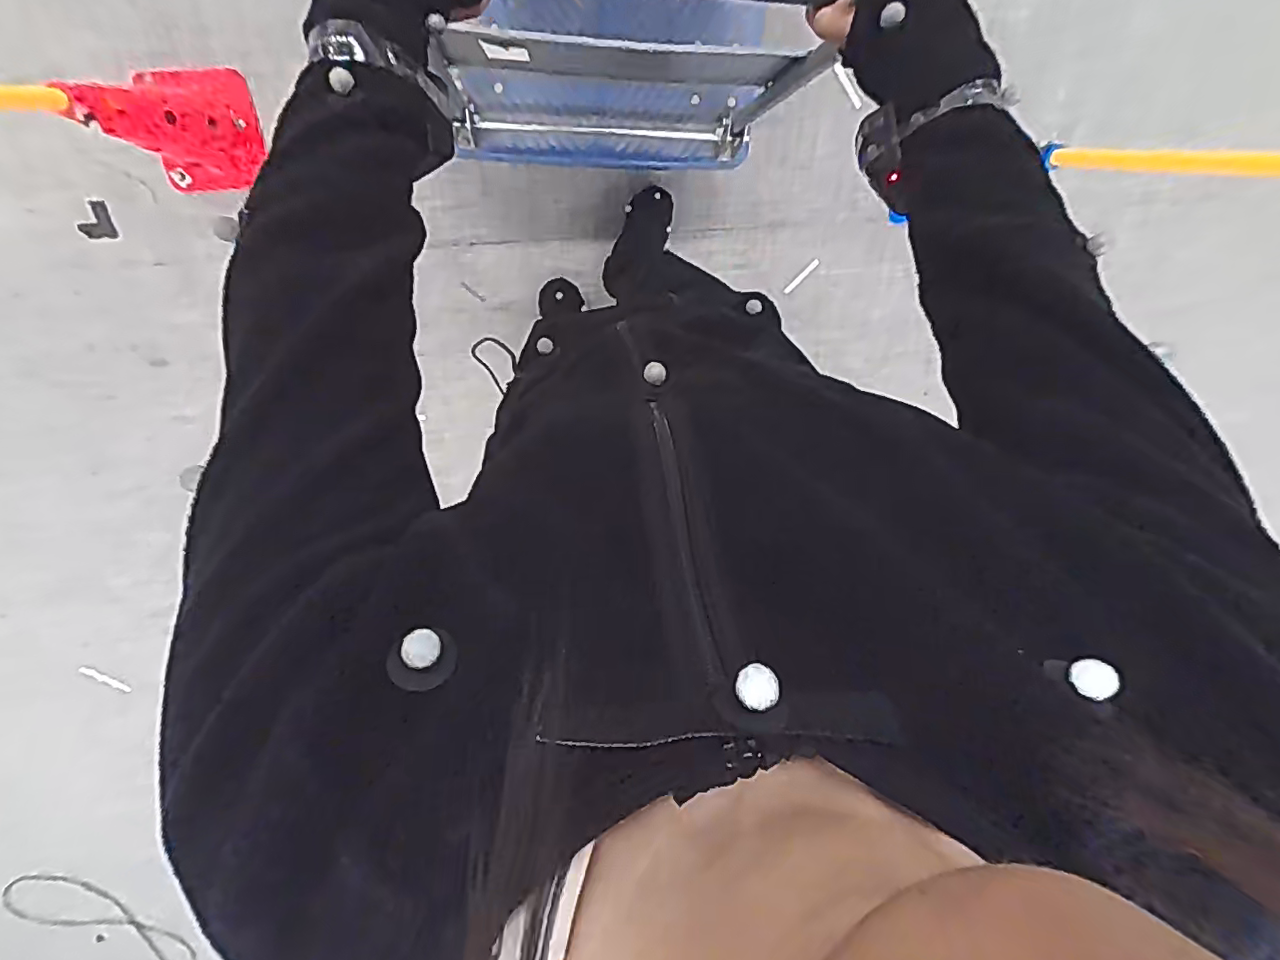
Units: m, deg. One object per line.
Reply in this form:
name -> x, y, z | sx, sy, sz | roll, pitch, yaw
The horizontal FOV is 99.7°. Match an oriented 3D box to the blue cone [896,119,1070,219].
blue cone -> 0.711, -0.653, 1.115 | 0.193, 0.380, 0.192 | -9, 116, -5
